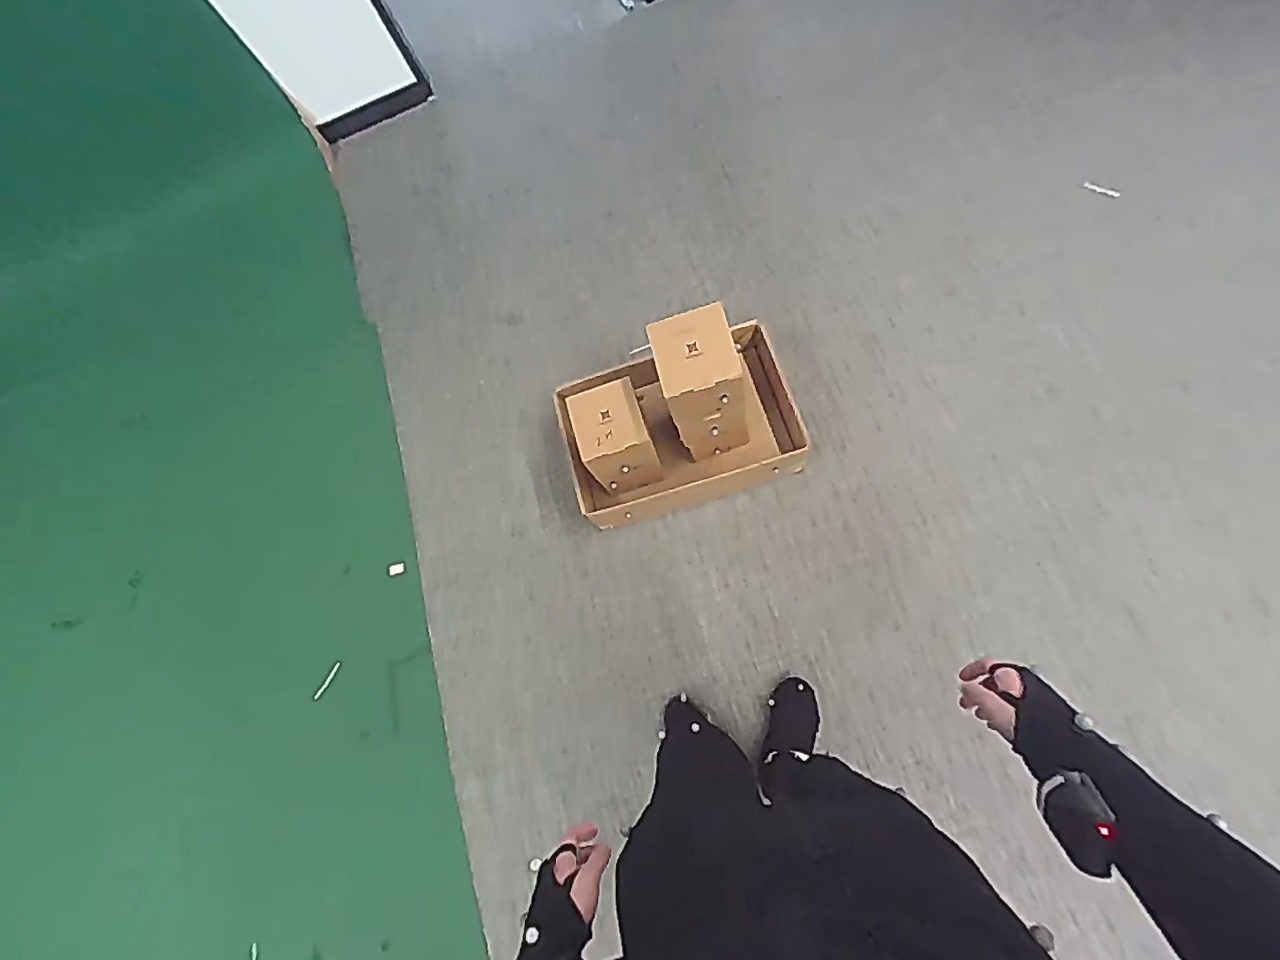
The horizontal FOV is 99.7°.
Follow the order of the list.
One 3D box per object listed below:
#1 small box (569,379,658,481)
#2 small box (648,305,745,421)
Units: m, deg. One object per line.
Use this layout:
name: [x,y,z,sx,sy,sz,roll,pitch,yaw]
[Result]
small box: [-0.061,-0.119,1.343,0.168,0.176,0.179,-18,72,4]
small box: [0.128,-0.242,1.174,0.168,0.176,0.179,-15,73,8]
